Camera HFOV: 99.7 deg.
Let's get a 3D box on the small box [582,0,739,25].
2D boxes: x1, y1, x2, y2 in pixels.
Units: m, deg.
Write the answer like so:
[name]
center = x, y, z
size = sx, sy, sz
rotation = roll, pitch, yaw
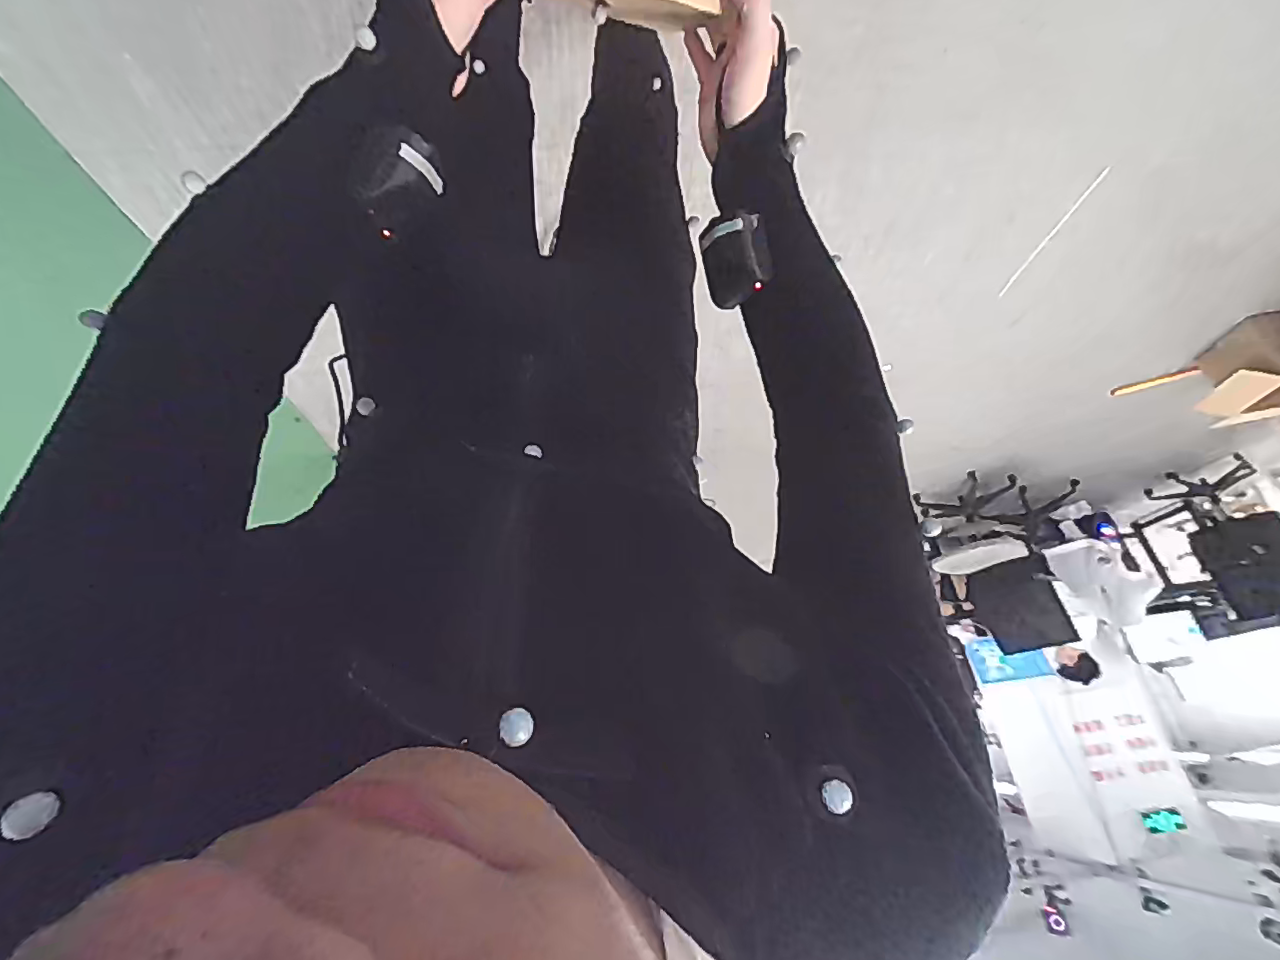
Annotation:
[small box]
center = -0.007, -0.465, 0.396
size = 0.168, 0.176, 0.179
rotation = 1, 125, -18
